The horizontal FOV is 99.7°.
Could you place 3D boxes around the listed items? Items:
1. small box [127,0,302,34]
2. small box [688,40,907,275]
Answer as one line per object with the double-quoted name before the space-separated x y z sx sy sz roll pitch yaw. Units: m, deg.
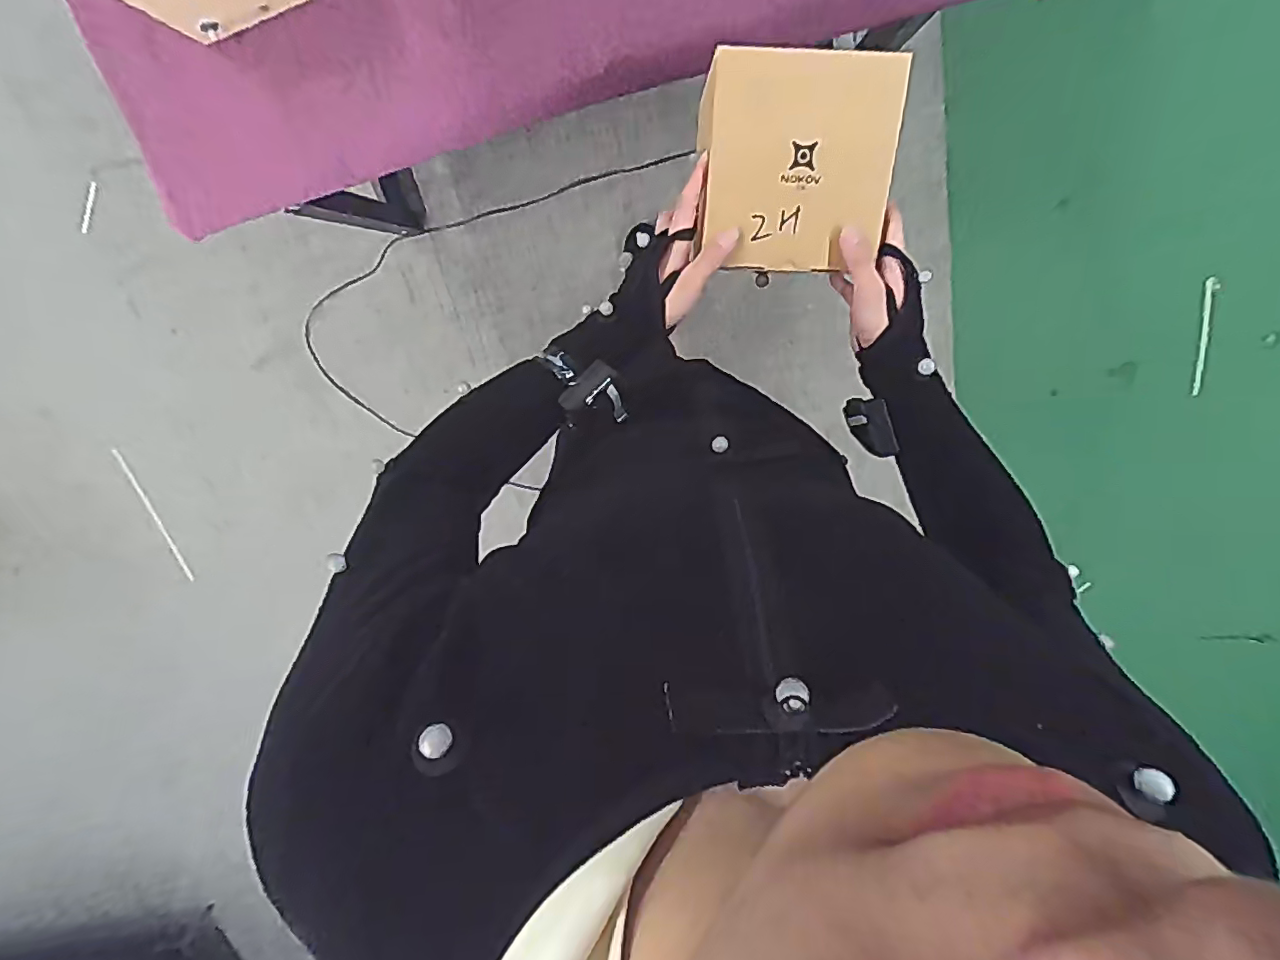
"small box" -0.515 -0.635 0.591 0.168 0.176 0.179 -16 107 7
"small box" 0.141 -0.309 0.556 0.168 0.176 0.179 3 111 0
